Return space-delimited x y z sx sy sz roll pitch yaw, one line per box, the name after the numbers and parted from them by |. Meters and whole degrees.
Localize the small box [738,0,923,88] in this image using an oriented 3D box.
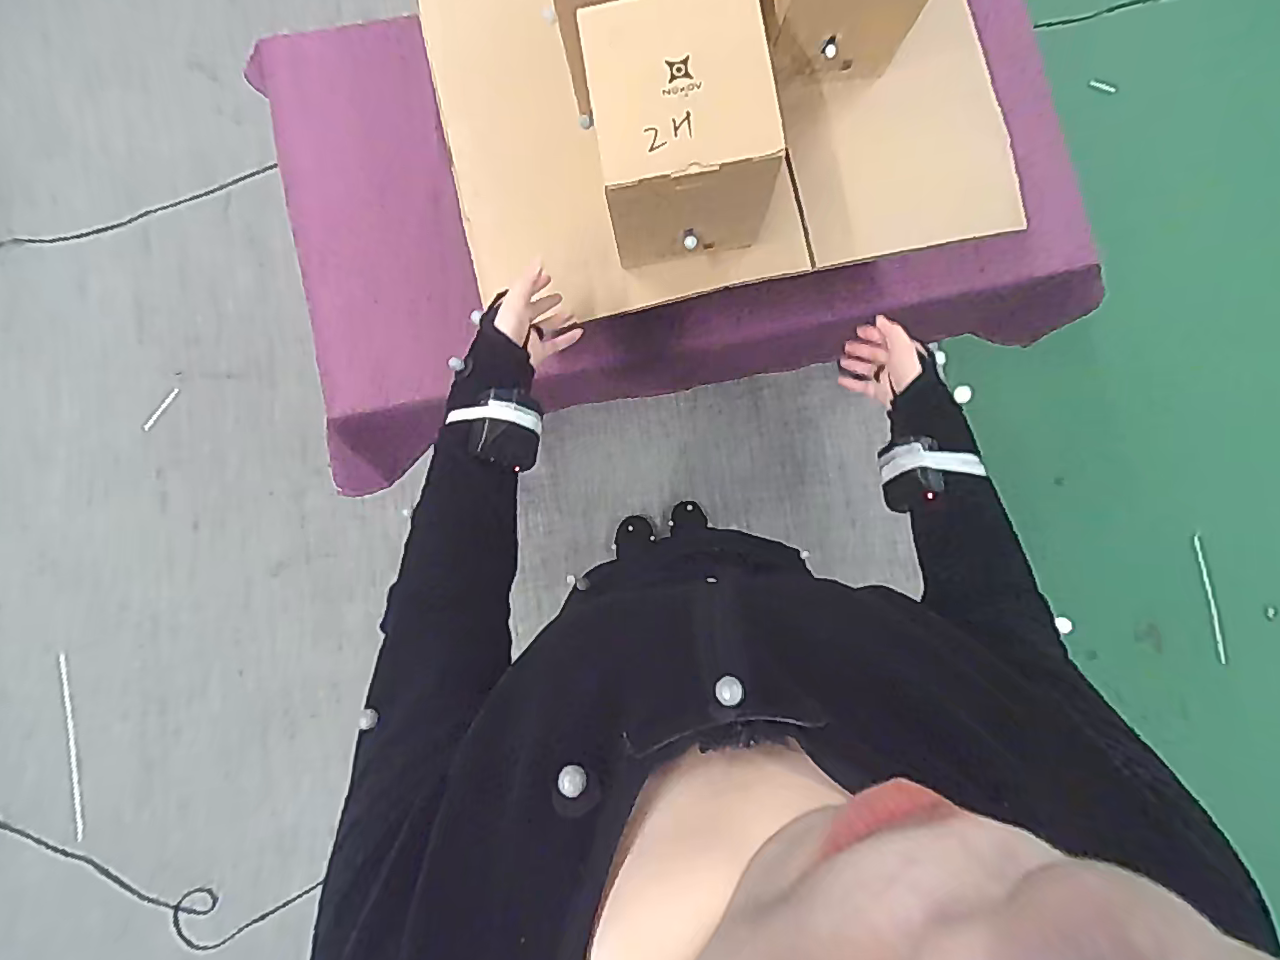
0.211 -0.587 0.601 0.168 0.176 0.179 -10 87 -5 | small box
